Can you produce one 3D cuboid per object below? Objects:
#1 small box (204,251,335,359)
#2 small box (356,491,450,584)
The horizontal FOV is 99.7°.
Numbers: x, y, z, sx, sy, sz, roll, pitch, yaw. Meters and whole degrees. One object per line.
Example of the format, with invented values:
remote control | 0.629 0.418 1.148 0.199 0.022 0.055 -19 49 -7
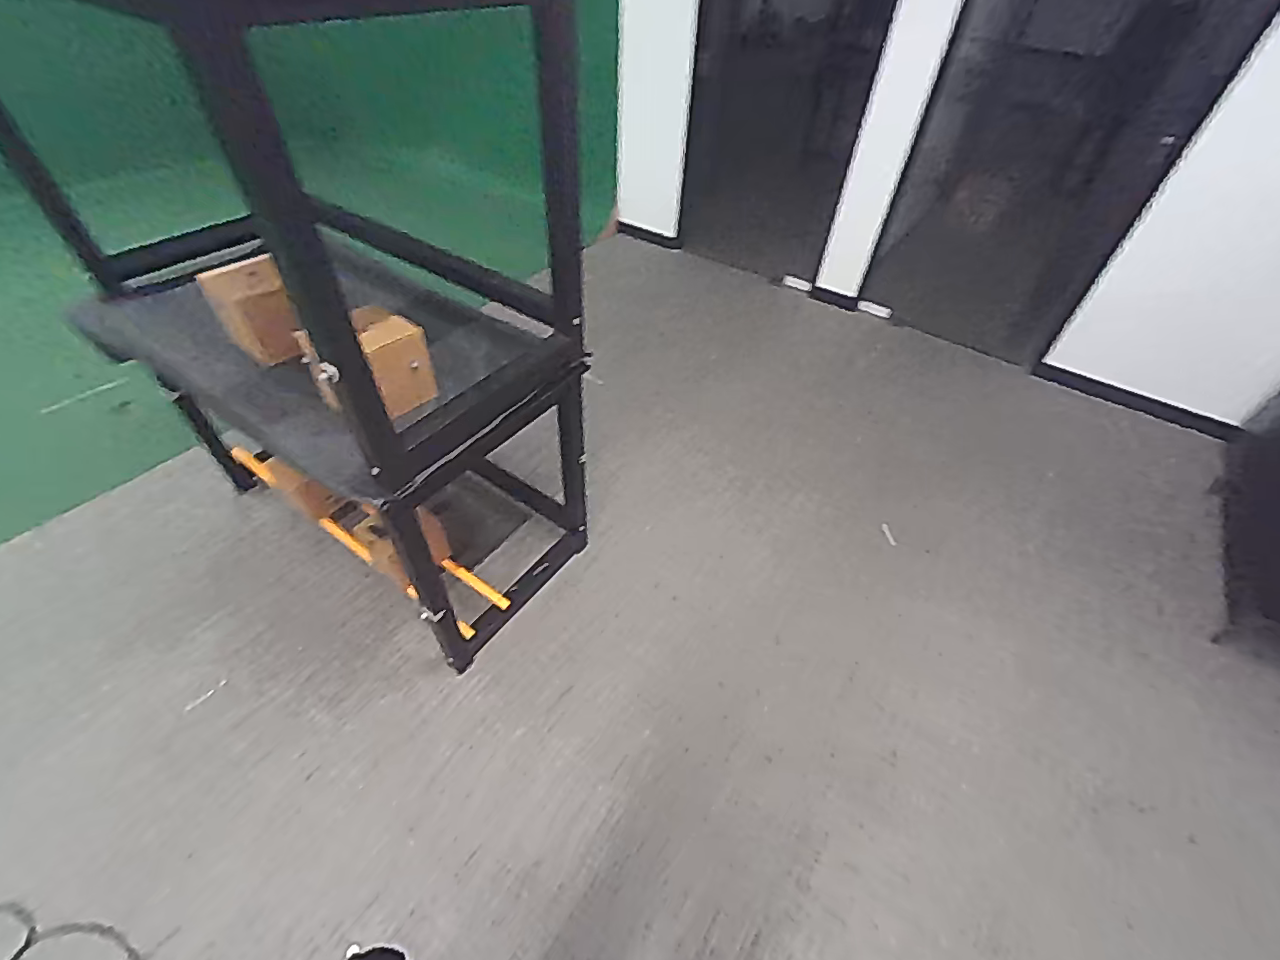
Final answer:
small box | -0.864 -0.411 1.276 0.179 0.176 0.168 31 52 24
small box | -0.689 0.173 1.591 0.168 0.176 0.179 32 52 24
